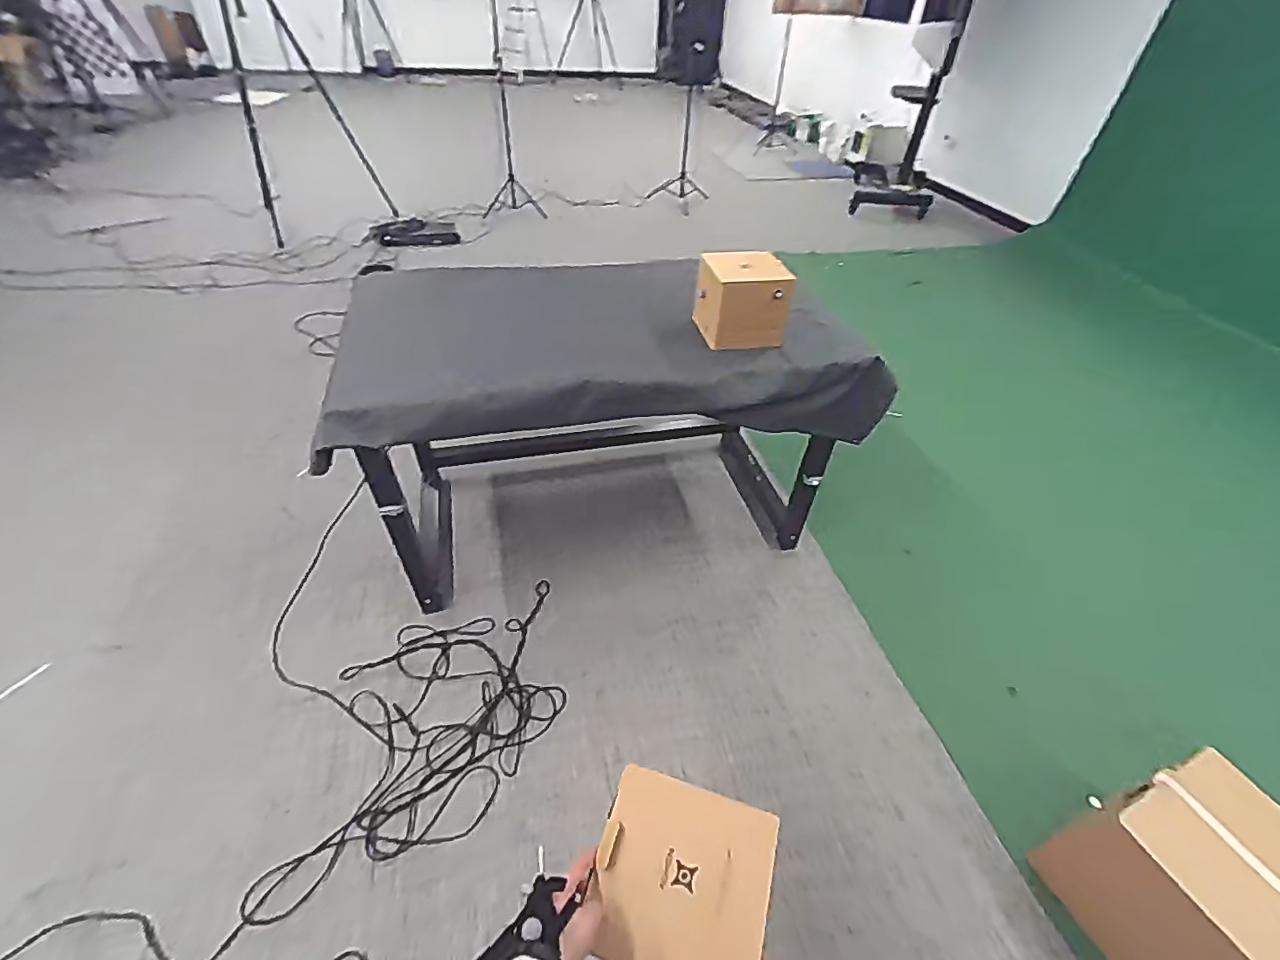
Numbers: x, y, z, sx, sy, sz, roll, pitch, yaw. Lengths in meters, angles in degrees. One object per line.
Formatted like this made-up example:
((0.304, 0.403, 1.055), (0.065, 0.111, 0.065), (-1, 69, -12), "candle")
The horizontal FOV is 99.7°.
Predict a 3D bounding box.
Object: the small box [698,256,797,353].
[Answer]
((0.241, -0.411, 1.274), (0.179, 0.176, 0.168), (-6, 44, -10), "small box")

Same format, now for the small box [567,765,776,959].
((0.037, 0.447, 0.592), (0.179, 0.176, 0.168), (13, 48, 11), "small box")
